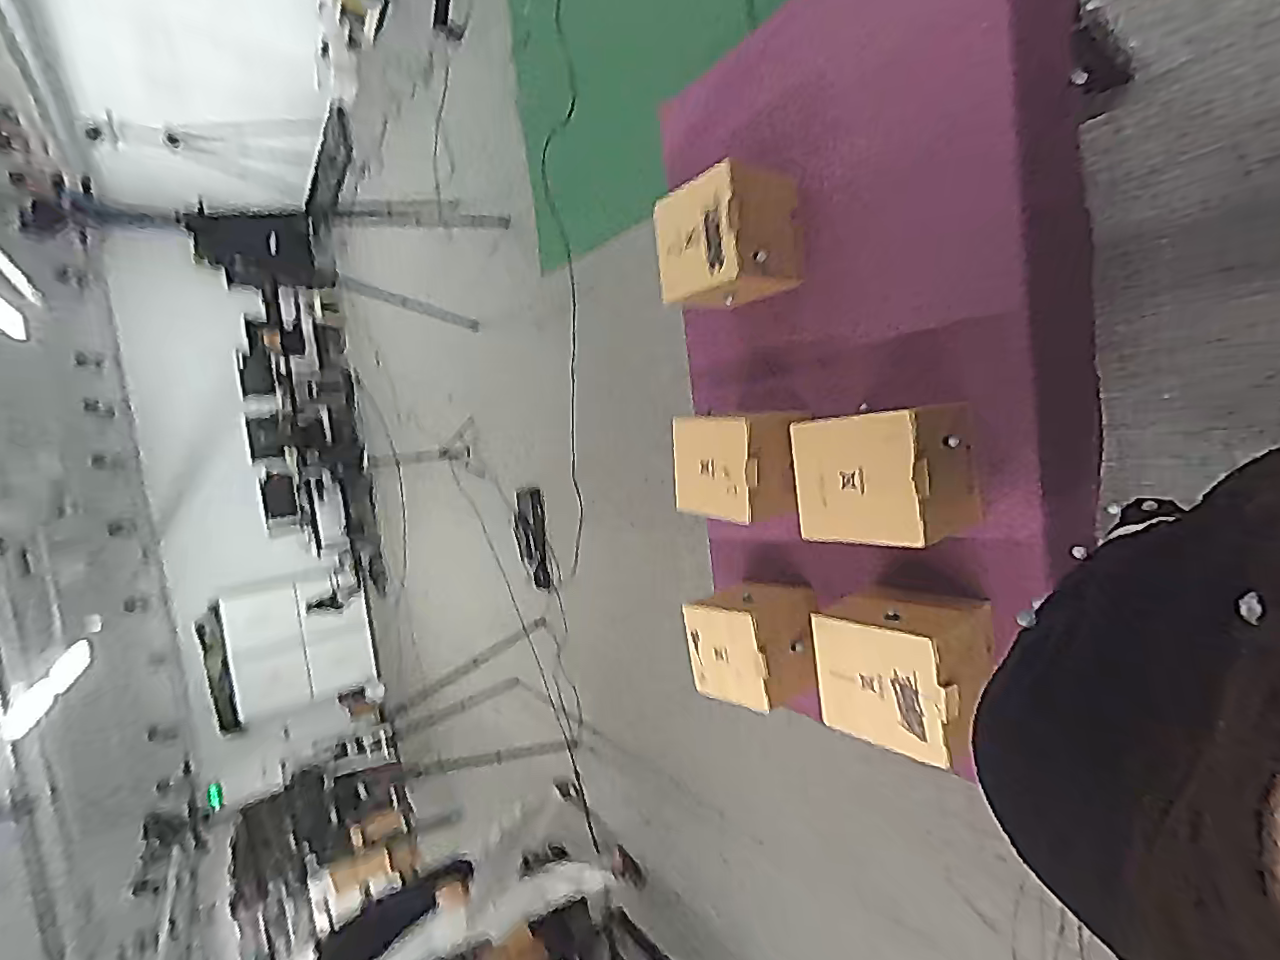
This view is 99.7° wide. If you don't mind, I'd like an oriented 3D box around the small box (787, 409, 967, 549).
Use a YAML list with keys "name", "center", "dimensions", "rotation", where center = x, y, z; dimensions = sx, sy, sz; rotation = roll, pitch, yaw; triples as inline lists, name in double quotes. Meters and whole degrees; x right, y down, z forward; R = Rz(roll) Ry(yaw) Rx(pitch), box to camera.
- name: "small box"
  center: [0.334, -0.006, 0.756]
  dimensions: [0.179, 0.176, 0.168]
  rotation: [-2, 95, 54]

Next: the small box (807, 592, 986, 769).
- name: "small box"
  center: [0.368, 0.266, 0.769]
  dimensions: [0.179, 0.176, 0.168]
  rotation: [-4, 94, 54]

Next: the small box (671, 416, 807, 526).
- name: "small box"
  center: [0.175, -0.025, 0.957]
  dimensions: [0.179, 0.176, 0.168]
  rotation: [9, 105, 51]

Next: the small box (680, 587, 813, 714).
- name: "small box"
  center: [0.202, 0.299, 0.991]
  dimensions: [0.179, 0.176, 0.168]
  rotation: [-9, 90, 52]
